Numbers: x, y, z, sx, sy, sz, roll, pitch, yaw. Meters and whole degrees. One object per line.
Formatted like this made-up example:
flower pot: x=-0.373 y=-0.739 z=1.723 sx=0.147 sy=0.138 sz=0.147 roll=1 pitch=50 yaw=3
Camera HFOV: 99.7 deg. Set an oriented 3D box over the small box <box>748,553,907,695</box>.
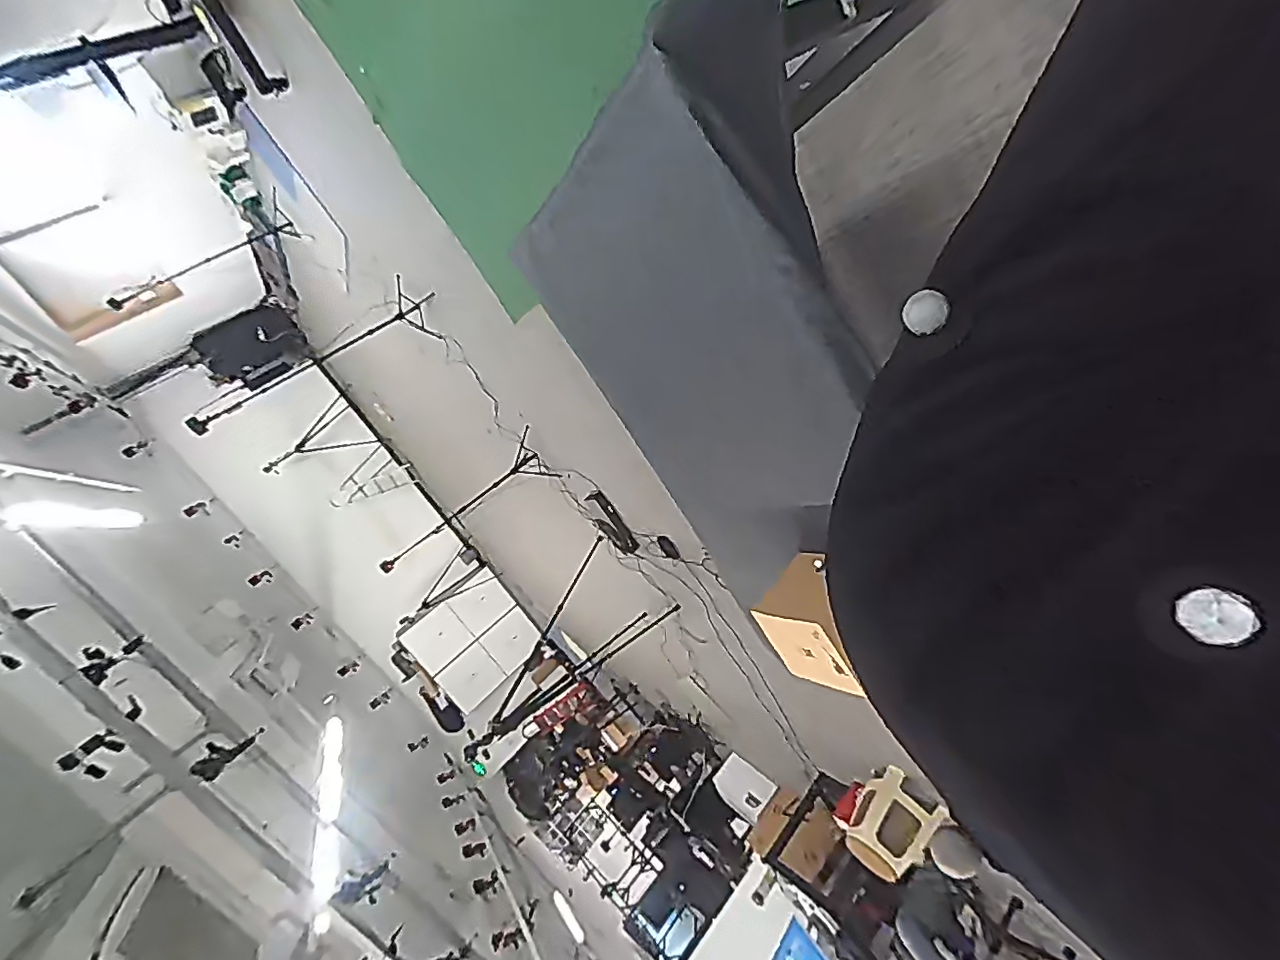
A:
small box: x=0.337 y=0.247 z=0.975 sx=0.168 sy=0.176 sz=0.179 roll=55 pitch=155 yaw=-13
